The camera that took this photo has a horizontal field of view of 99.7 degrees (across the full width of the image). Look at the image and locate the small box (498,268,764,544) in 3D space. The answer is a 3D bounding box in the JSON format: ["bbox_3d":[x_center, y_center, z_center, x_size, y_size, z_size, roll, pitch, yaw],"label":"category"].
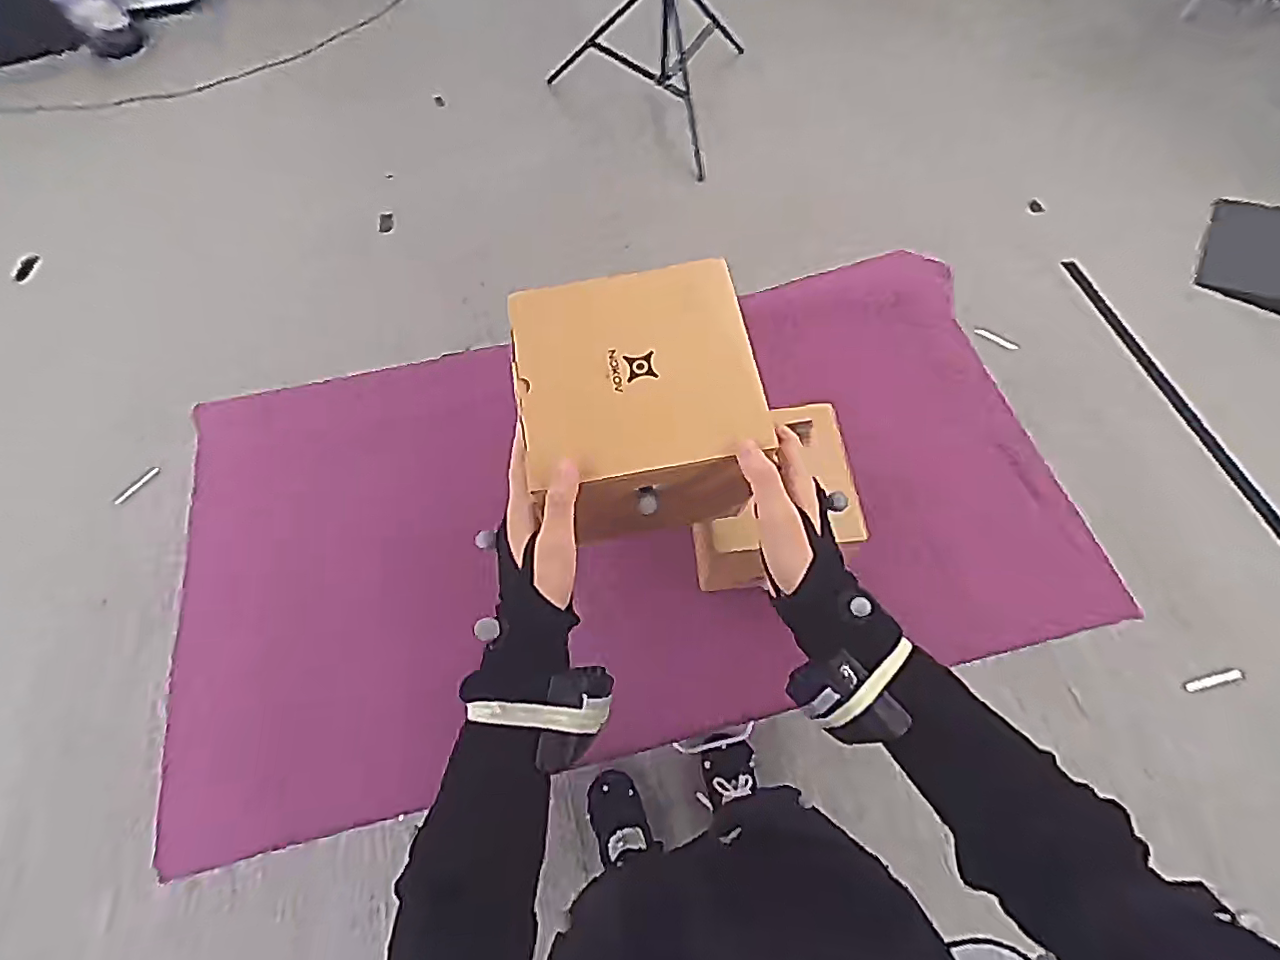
[{"bbox_3d":[-0.010,-0.051,0.471,0.179,0.176,0.168,-10,71,-1],"label":"small box"}]

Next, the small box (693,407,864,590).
[{"bbox_3d":[0.153,0.029,0.682,0.168,0.176,0.179,-4,65,-1],"label":"small box"}]
